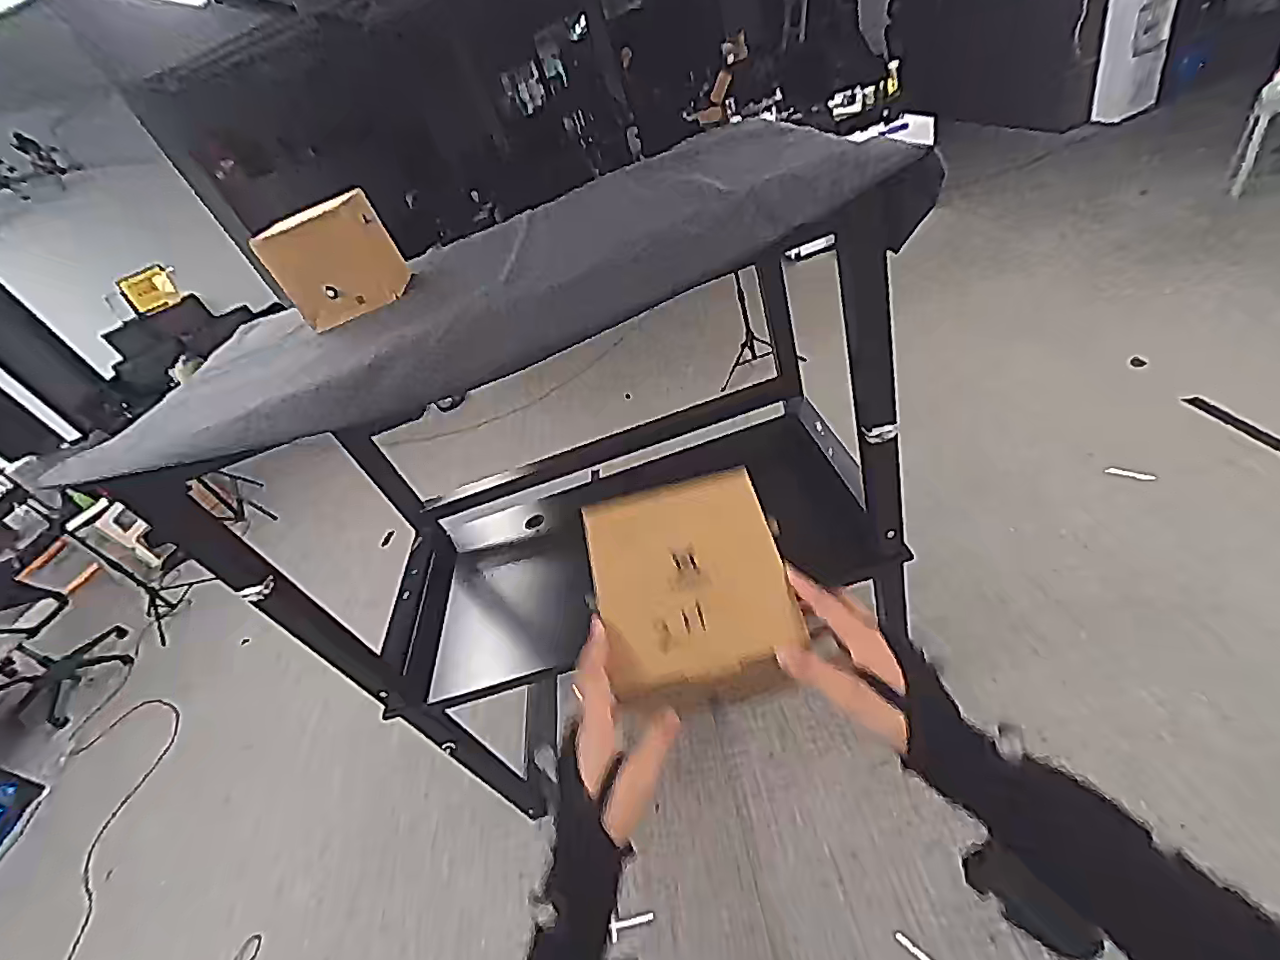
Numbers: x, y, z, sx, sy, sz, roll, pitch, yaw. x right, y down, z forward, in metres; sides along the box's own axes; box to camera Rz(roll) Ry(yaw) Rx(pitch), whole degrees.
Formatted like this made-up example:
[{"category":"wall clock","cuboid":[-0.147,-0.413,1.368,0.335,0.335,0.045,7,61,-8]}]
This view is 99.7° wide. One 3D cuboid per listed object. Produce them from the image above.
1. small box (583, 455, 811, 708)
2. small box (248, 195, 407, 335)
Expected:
[{"category":"small box","cuboid":[0.049,0.106,0.534,0.168,0.176,0.179,-14,58,1]},{"category":"small box","cuboid":[-0.548,-0.388,0.980,0.168,0.176,0.179,-23,38,2]}]
